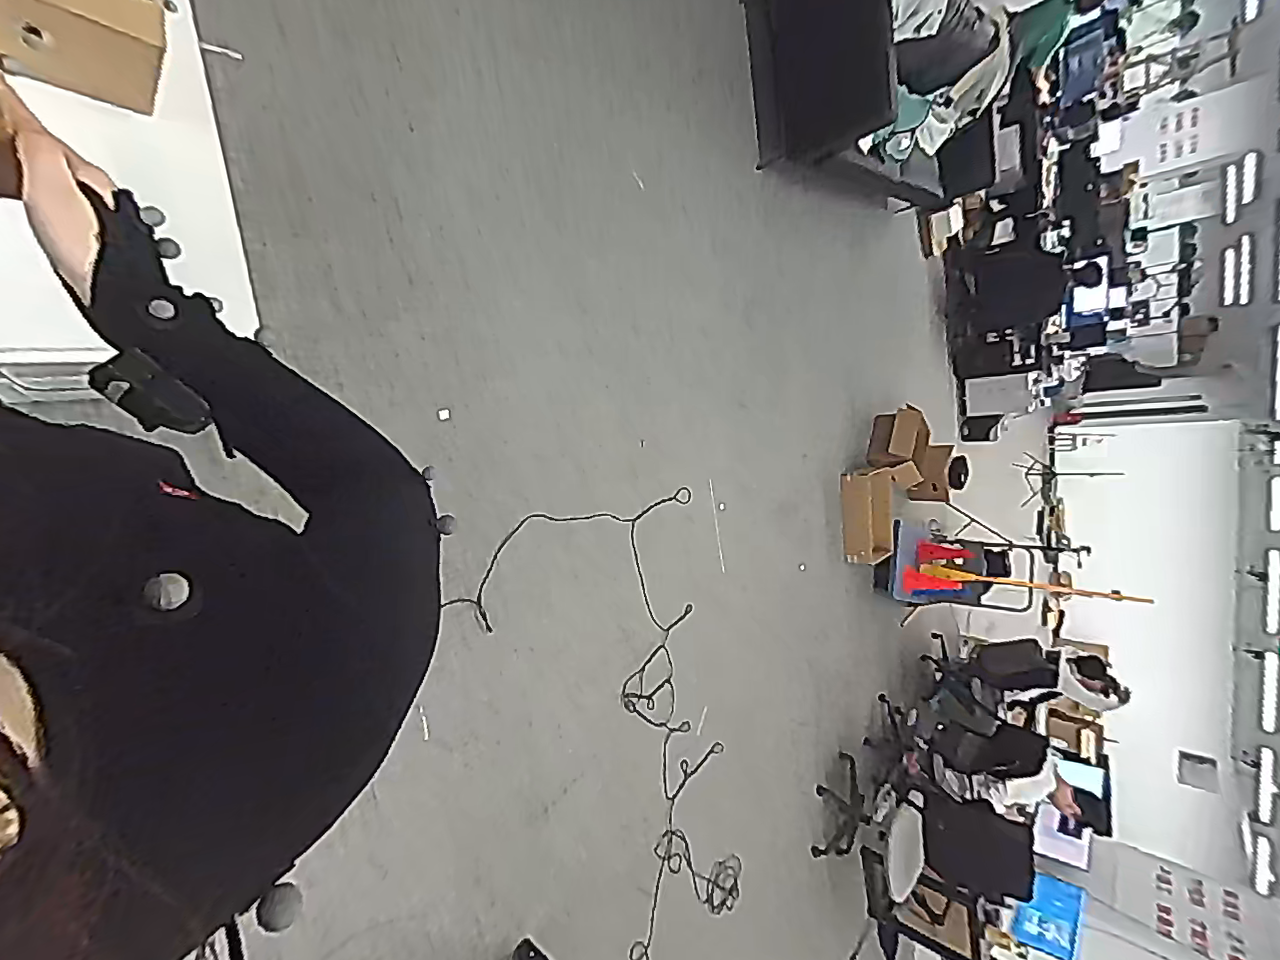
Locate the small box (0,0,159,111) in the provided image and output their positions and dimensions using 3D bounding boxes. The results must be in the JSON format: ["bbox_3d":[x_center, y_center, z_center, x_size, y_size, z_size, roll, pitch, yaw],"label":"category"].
[{"bbox_3d":[-0.650,-0.549,0.588,0.179,0.176,0.168,-5,94,-46],"label":"small box"}]

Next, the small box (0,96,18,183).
[{"bbox_3d":[-0.459,-0.269,0.264,0.179,0.176,0.168,-14,99,-46],"label":"small box"}]
